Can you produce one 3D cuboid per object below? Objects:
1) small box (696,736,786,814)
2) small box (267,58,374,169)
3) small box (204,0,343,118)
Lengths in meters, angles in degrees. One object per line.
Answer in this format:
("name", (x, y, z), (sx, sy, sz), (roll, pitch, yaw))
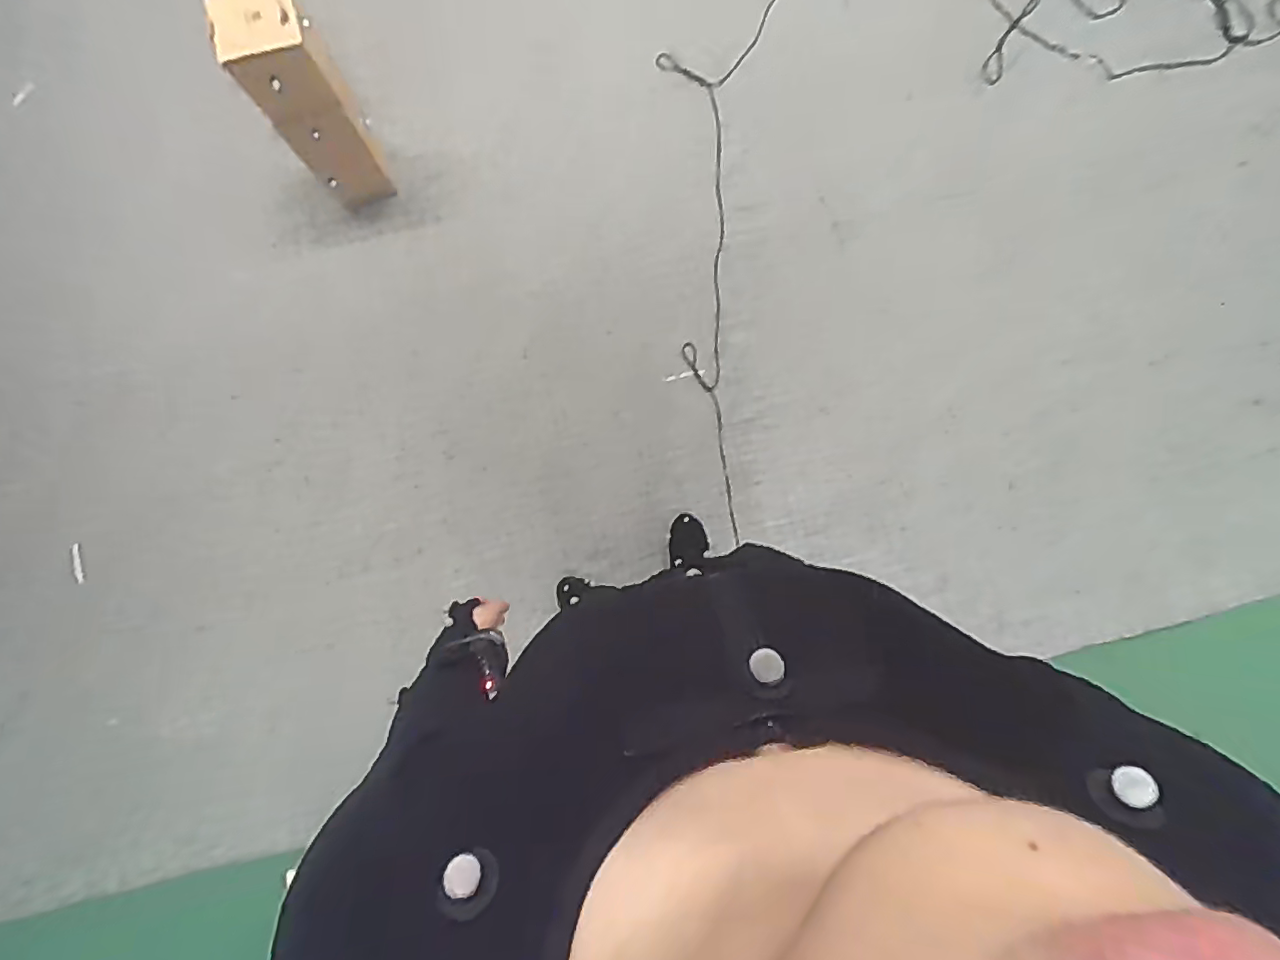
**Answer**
("small box", (0.221, 0.661, 1.138), (0.168, 0.176, 0.179), (-13, 85, -1))
("small box", (-0.799, -0.913, 1.346), (0.179, 0.176, 0.168), (-15, 86, -3))
("small box", (-0.794, -0.937, 1.183), (0.179, 0.176, 0.168), (-16, 86, -1))
